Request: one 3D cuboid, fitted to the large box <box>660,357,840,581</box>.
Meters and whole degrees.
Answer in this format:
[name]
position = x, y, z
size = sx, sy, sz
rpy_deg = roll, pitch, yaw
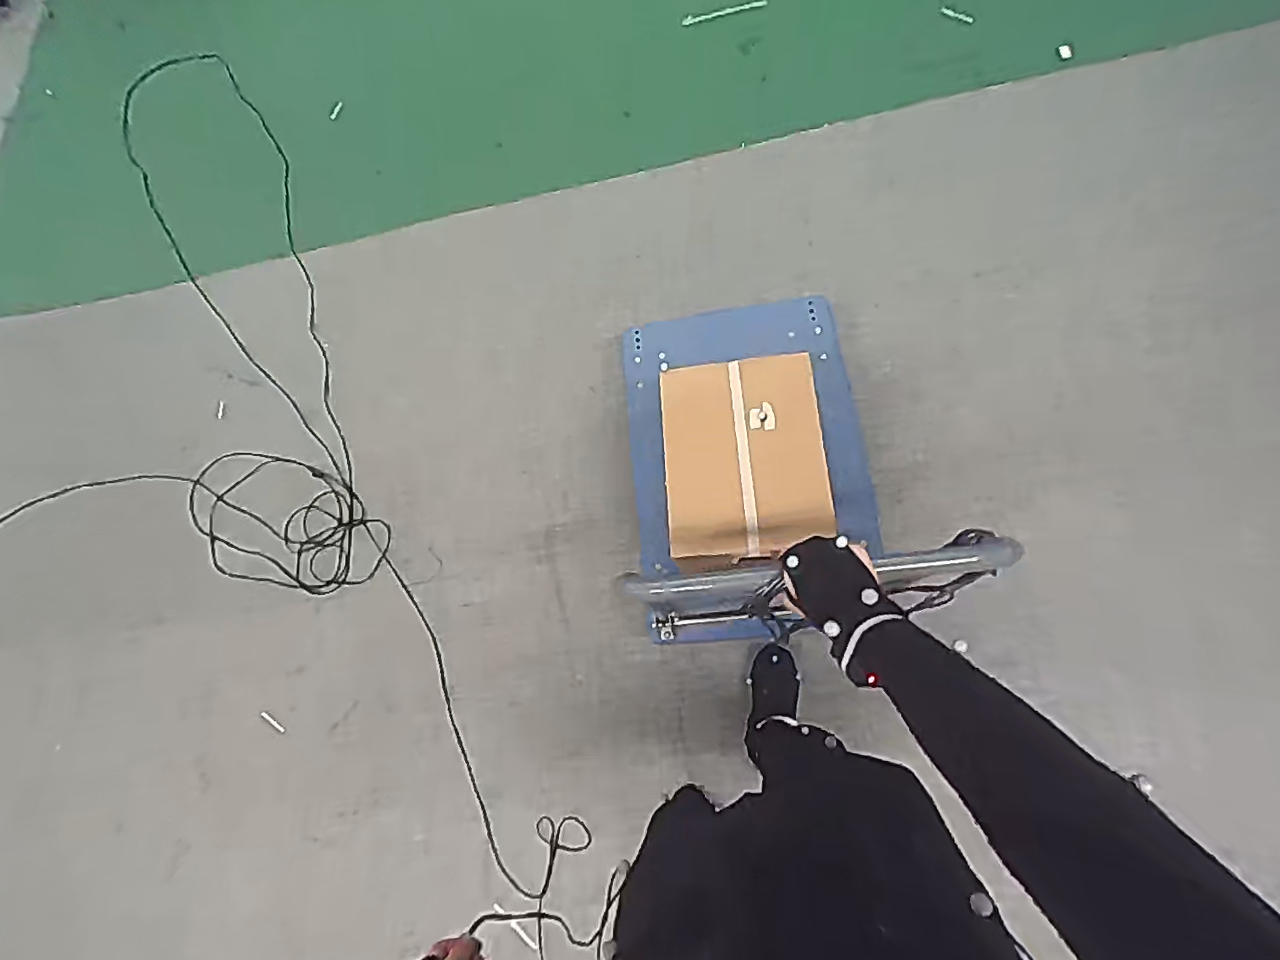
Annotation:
[large box]
position = 0.229, -0.004, 1.204
size = 0.320, 0.320, 0.408
rpy_deg = -5, 72, 8
